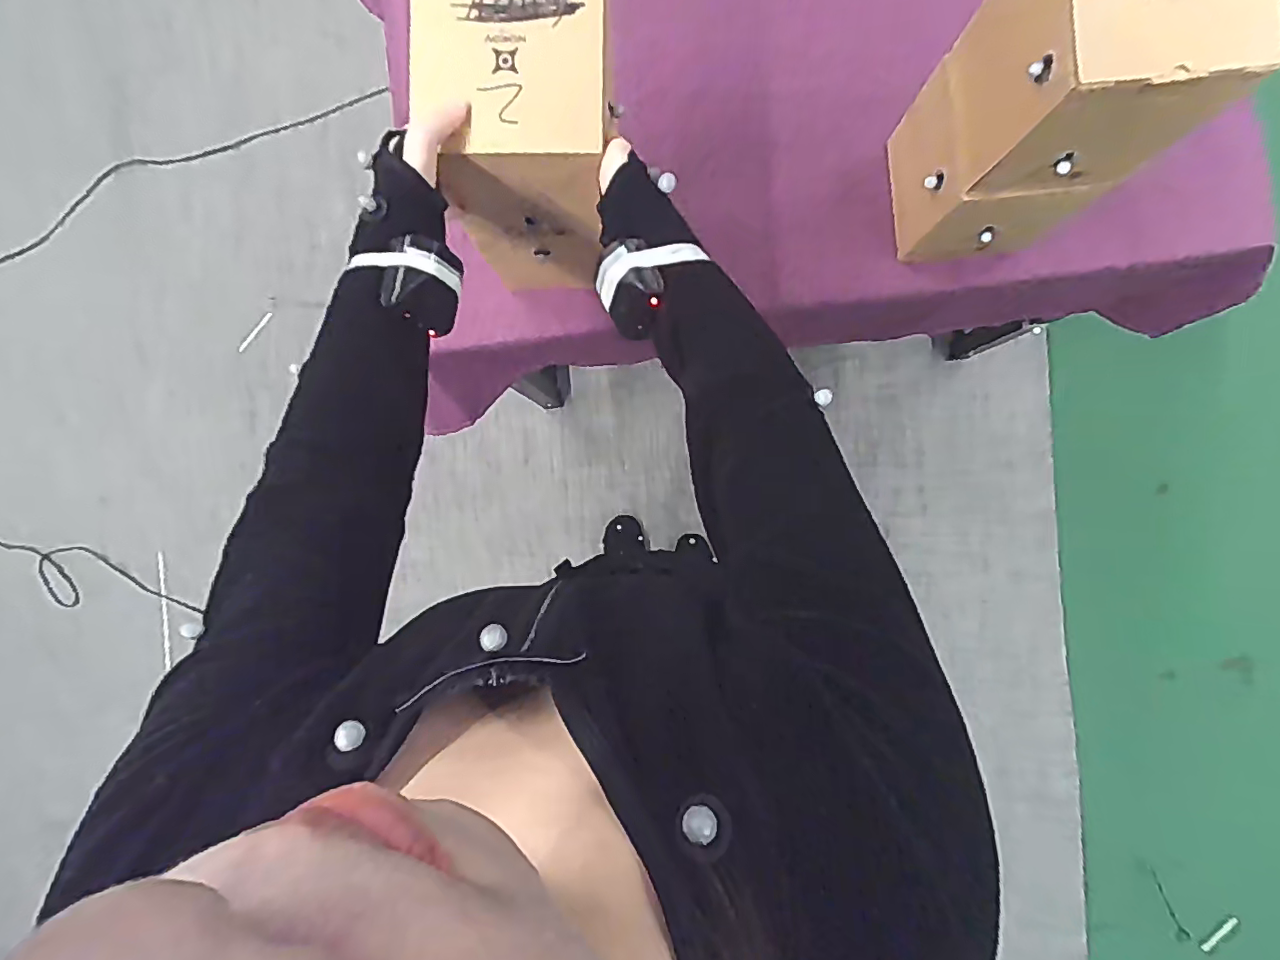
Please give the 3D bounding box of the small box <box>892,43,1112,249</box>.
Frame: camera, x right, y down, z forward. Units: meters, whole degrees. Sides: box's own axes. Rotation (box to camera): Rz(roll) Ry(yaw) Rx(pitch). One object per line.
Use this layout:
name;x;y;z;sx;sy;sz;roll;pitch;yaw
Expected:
small box;0.438;-0.409;0.682;0.168;0.176;0.179;-5;89;2

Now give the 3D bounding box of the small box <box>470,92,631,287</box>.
small box;-0.106;-0.362;0.705;0.179;0.176;0.168;-3;90;2

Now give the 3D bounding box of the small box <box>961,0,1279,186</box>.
small box;0.436;-0.418;0.519;0.168;0.176;0.179;-5;91;2
